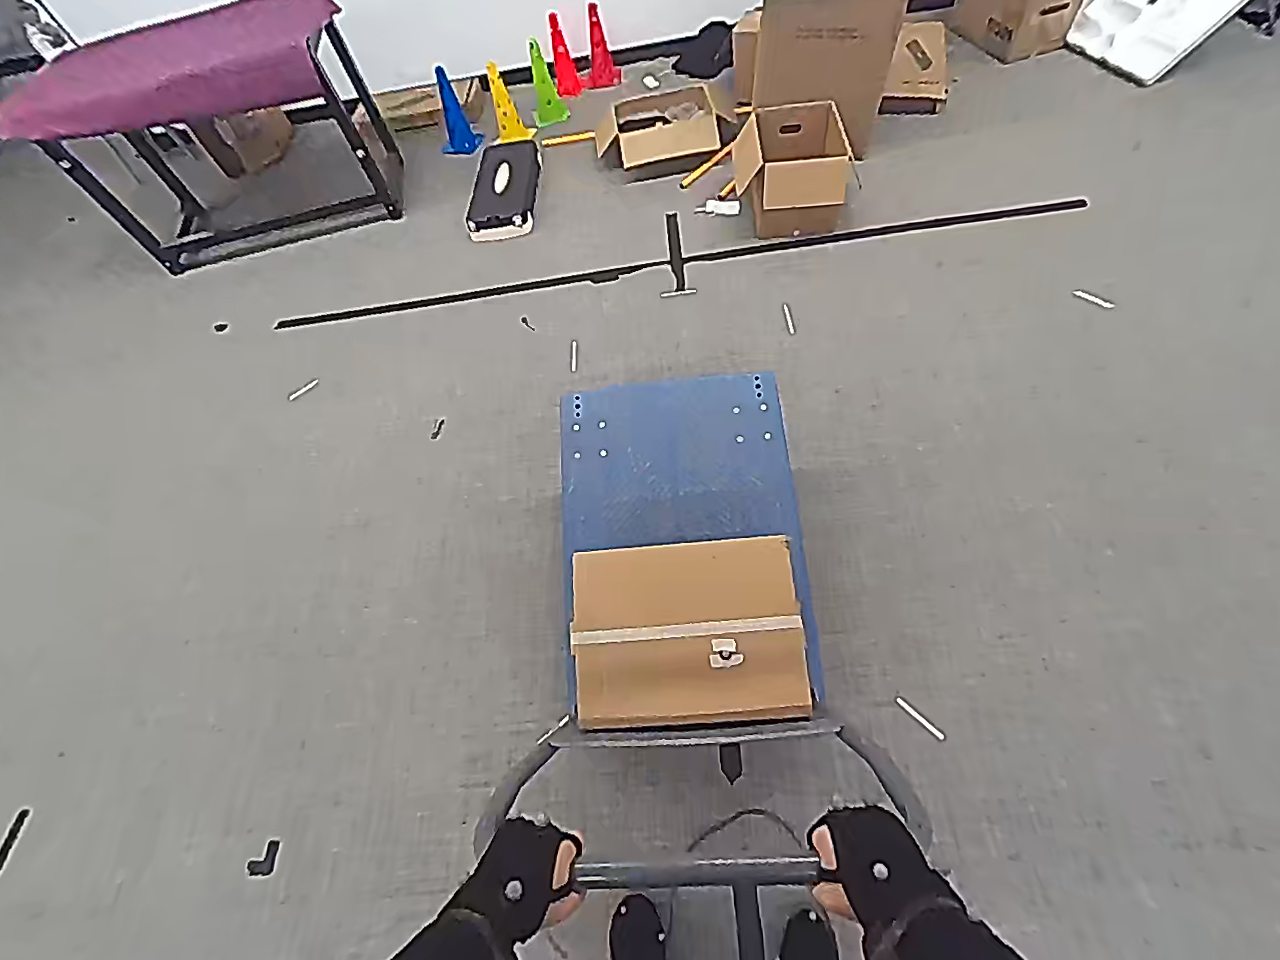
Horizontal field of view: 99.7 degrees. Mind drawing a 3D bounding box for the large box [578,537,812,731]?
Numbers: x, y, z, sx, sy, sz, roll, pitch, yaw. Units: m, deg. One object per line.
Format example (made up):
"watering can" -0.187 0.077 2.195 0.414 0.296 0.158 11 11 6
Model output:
"large box" 0.101 0.321 1.128 0.408 0.320 0.320 -6 73 4
